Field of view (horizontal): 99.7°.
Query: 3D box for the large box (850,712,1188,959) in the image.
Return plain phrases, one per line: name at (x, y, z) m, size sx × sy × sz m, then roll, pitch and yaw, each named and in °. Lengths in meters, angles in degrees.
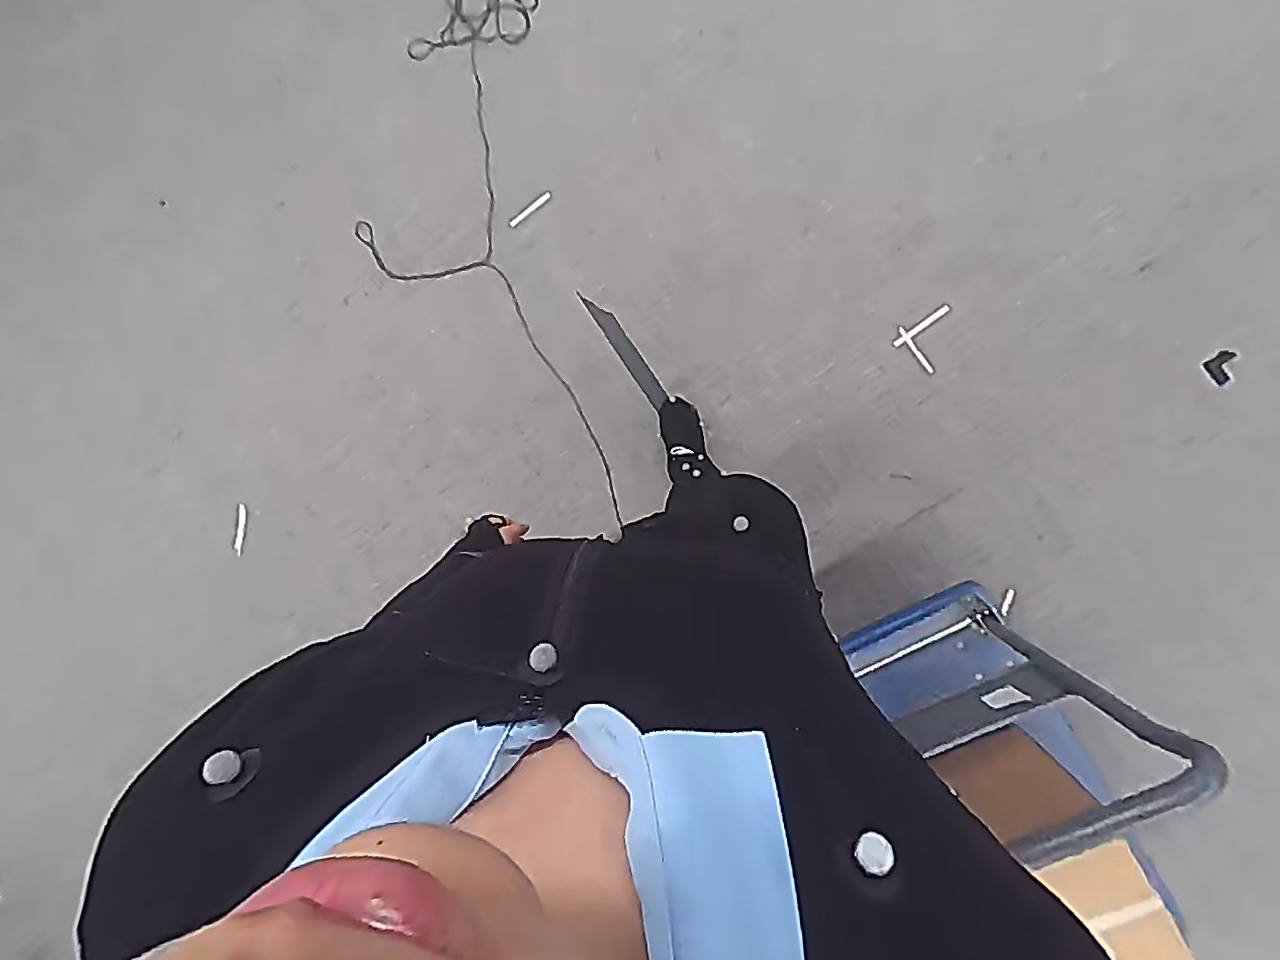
large box at (0.712, 0.751, 1.100) m, size 0.408 × 0.320 × 0.320 m, roll -30°, pitch 88°, yaw 9°
